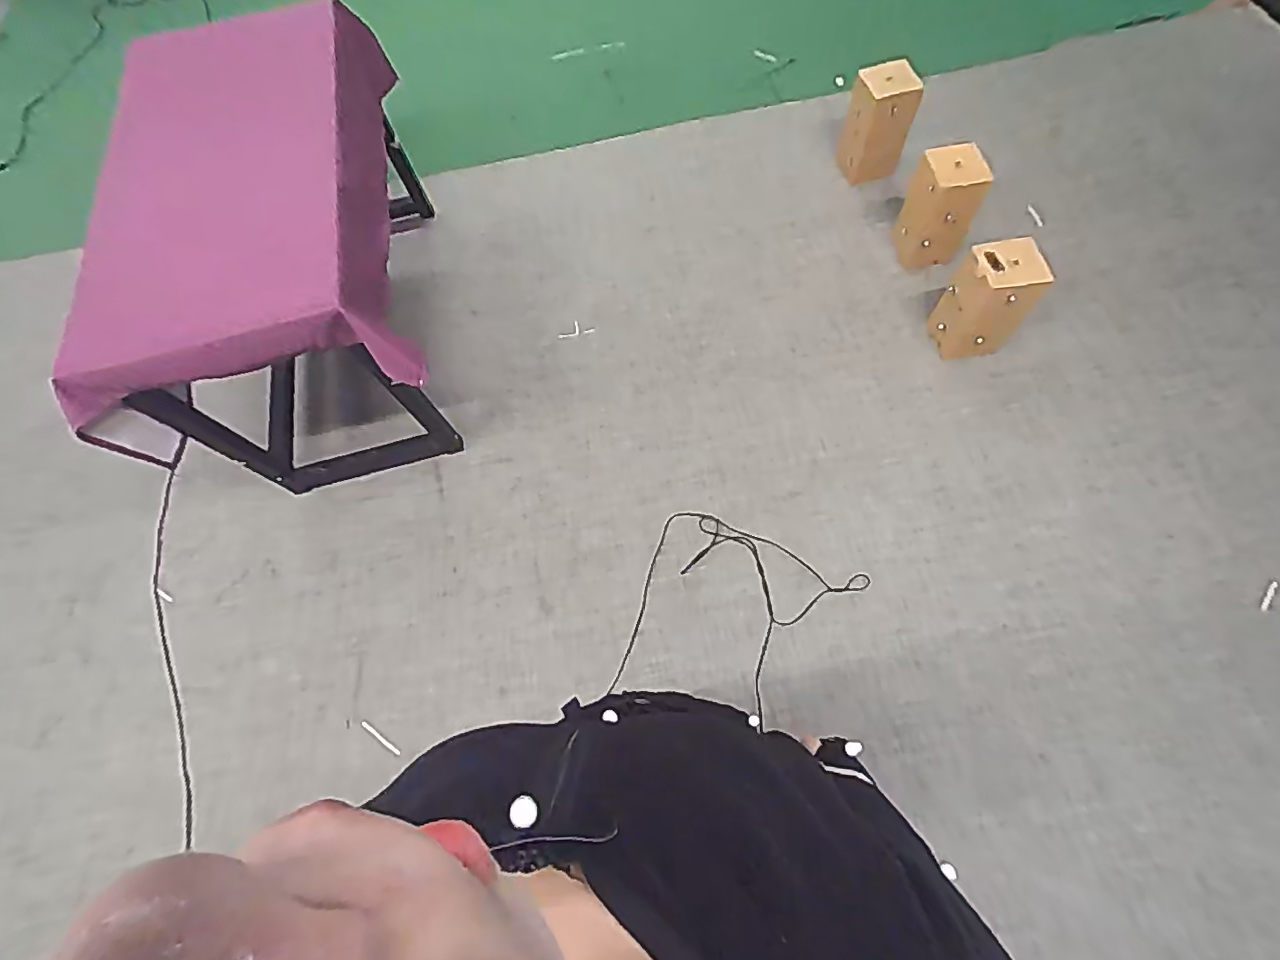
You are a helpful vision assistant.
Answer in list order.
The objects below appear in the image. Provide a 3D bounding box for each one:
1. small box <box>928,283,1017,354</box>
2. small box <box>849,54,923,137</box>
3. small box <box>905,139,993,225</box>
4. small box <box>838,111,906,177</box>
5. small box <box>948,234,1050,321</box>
[{"bbox_3d":[1.058,-0.527,1.742,0.179,0.176,0.168,-9,68,1],"label":"small box"},{"bbox_3d":[0.862,-1.359,1.921,0.179,0.176,0.168,-14,69,-1],"label":"small box"},{"bbox_3d":[0.987,-0.959,1.748,0.168,0.176,0.179,-7,67,1],"label":"small box"},{"bbox_3d":[0.877,-1.296,2.073,0.179,0.176,0.168,-12,68,-1],"label":"small box"},{"bbox_3d":[1.041,-0.590,1.591,0.179,0.176,0.168,-7,68,1],"label":"small box"}]
